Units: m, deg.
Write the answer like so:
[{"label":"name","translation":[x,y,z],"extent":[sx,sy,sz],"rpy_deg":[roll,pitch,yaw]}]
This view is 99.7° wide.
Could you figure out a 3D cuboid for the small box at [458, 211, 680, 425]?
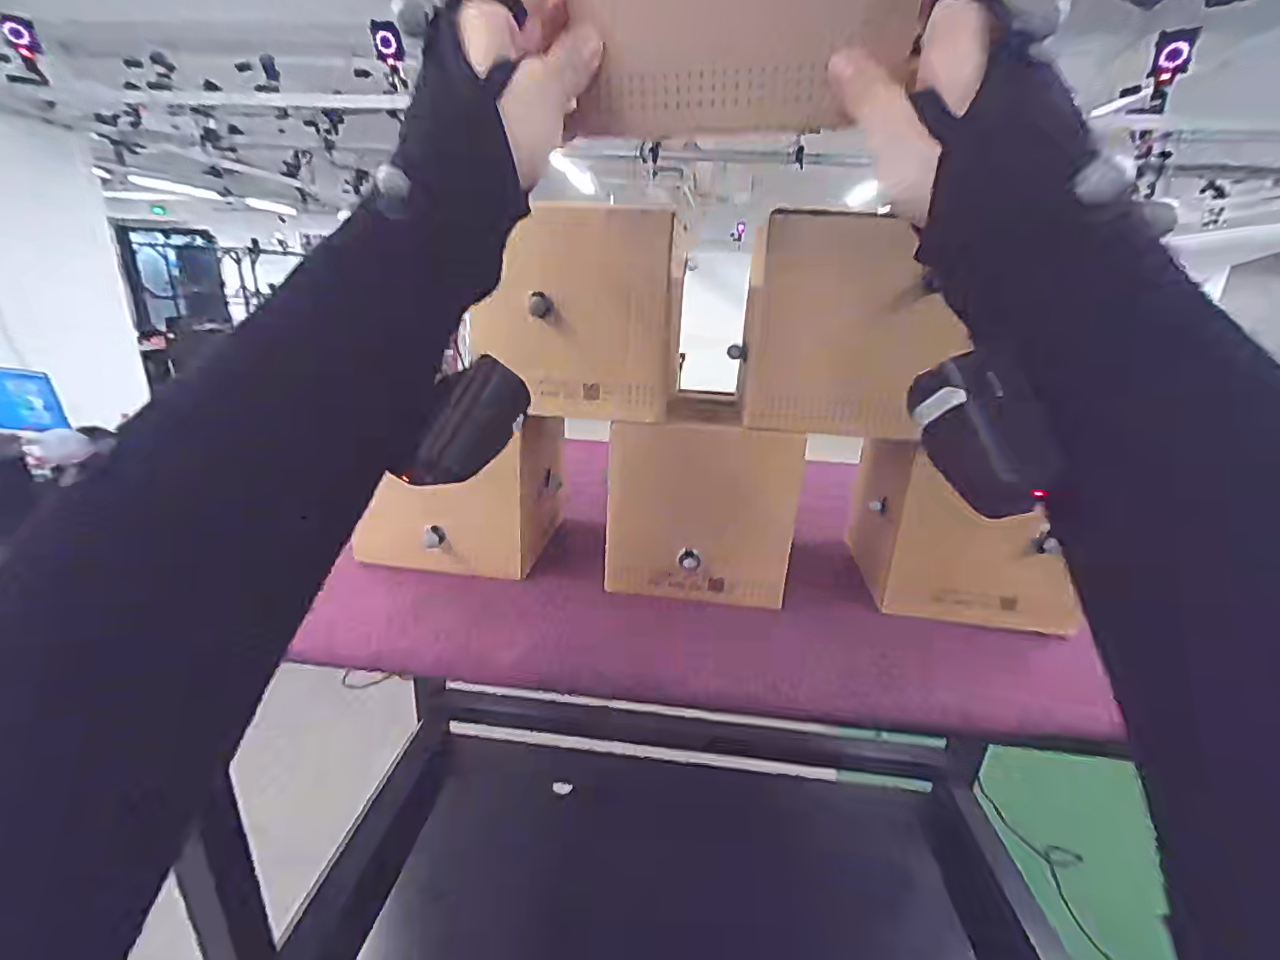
[{"label":"small box","translation":[-0.052,-0.152,0.517],"extent":[0.168,0.176,0.179],"rpy_deg":[4,18,7]}]

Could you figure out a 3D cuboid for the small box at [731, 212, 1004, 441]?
[{"label":"small box","translation":[0.182,-0.136,0.494],"extent":[0.179,0.176,0.168],"rpy_deg":[5,18,6]}]

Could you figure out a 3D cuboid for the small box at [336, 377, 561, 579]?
[{"label":"small box","translation":[-0.187,-0.008,0.583],"extent":[0.179,0.176,0.168],"rpy_deg":[6,19,5]}]

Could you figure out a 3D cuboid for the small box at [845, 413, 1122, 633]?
[{"label":"small box","translation":[0.313,0.030,0.539],"extent":[0.168,0.176,0.179],"rpy_deg":[6,18,9]}]

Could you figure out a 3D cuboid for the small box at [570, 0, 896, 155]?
[{"label":"small box","translation":[0.058,-0.302,0.335],"extent":[0.179,0.176,0.168],"rpy_deg":[4,31,10]}]
